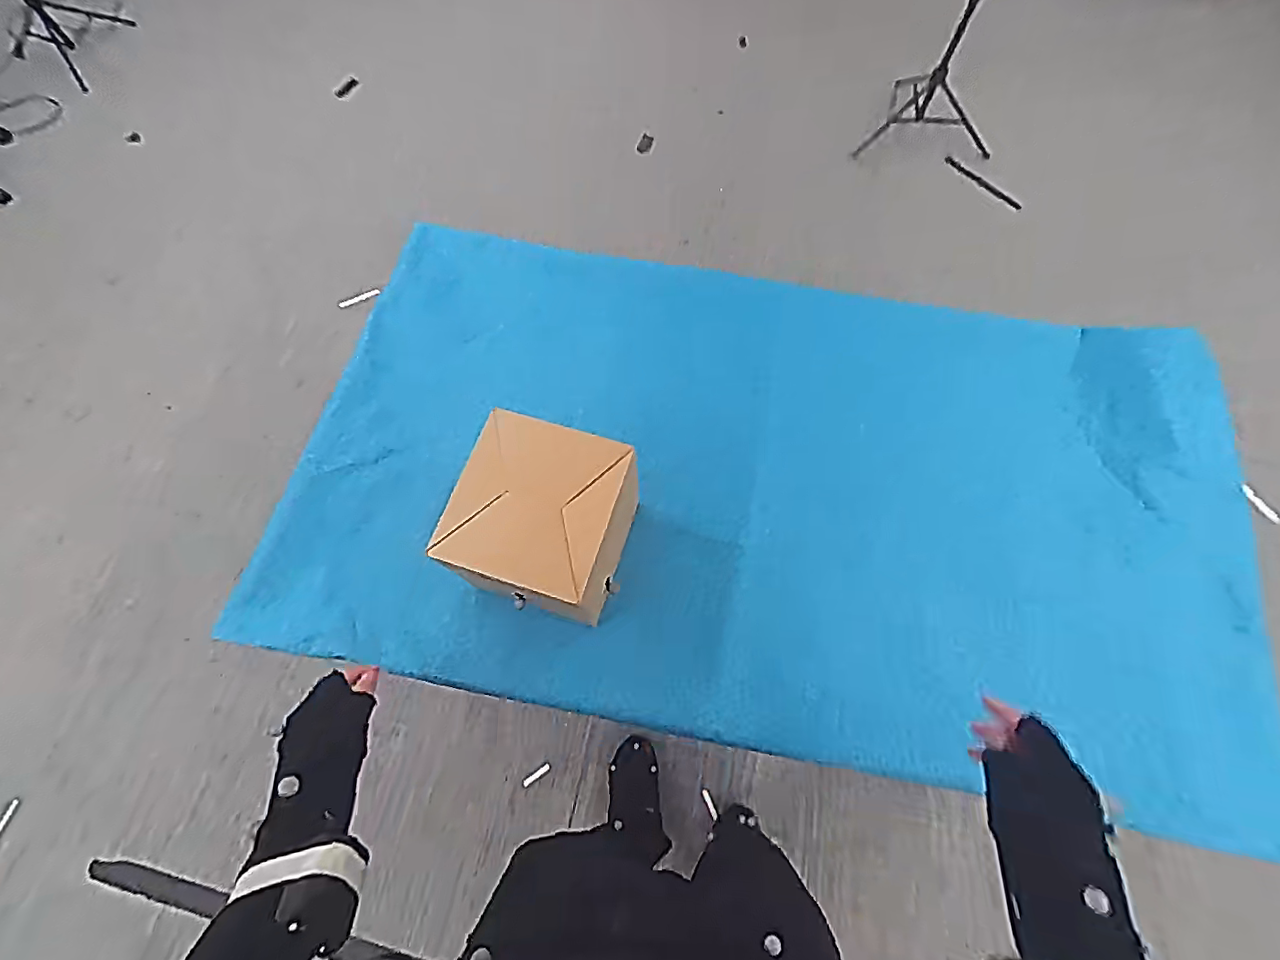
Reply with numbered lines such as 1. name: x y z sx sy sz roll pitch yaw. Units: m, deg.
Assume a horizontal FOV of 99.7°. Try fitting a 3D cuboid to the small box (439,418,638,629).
1. small box: -0.106 0.055 0.633 0.168 0.176 0.179 16 69 7
